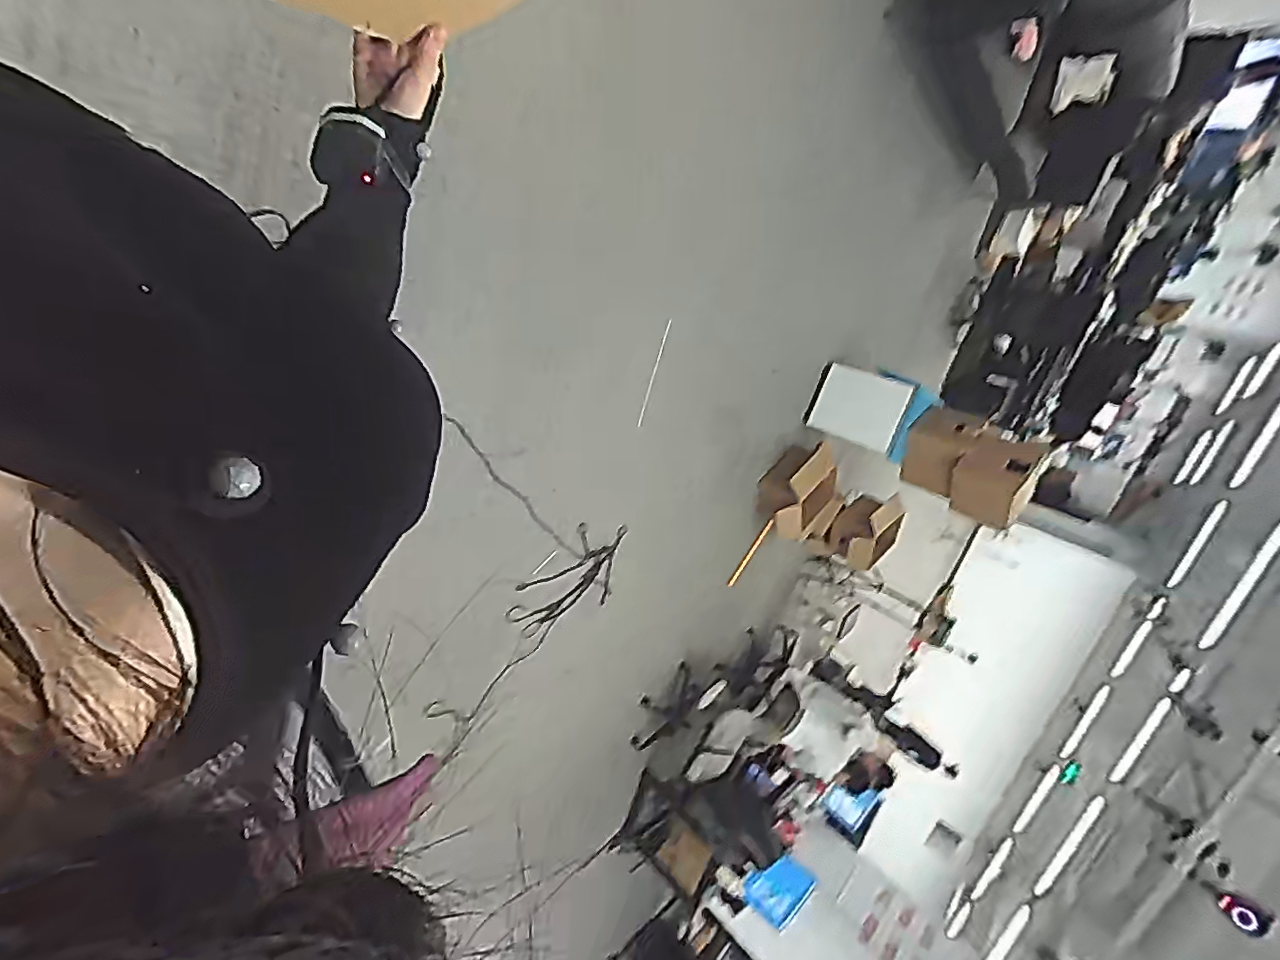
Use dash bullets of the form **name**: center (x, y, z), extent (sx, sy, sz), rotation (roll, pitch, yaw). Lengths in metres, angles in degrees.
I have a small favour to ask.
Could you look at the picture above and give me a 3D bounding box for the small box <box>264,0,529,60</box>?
- **small box**: center (-0.174, -0.434, 0.366), extent (0.168, 0.179, 0.176), rotation (-51, 130, -57)
